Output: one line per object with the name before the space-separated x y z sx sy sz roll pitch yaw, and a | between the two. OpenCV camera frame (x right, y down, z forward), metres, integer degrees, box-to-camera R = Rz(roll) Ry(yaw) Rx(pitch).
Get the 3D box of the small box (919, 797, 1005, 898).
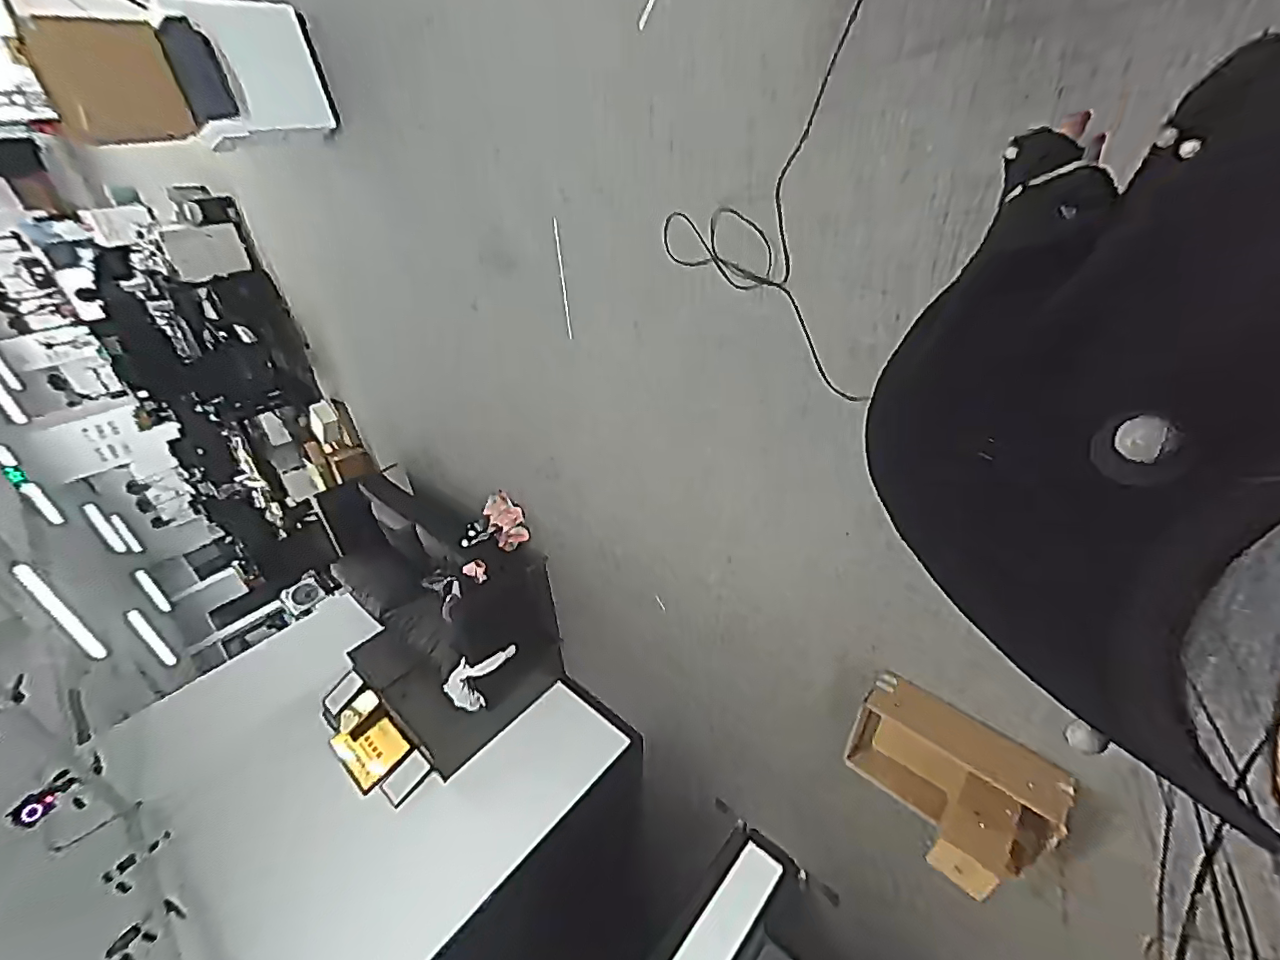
small box | 1.014 1.151 1.702 0.168 0.176 0.179 28 133 32
